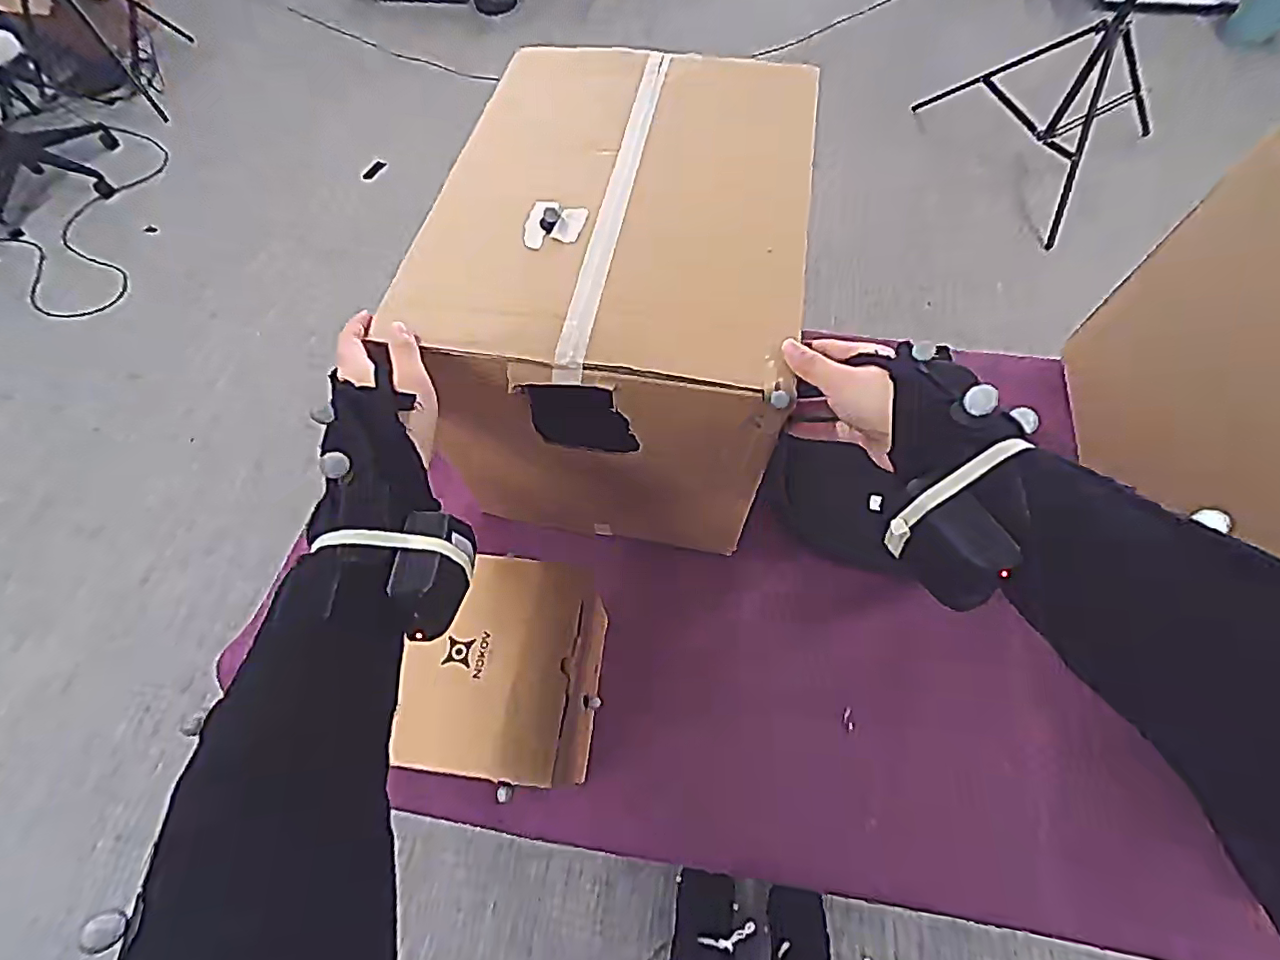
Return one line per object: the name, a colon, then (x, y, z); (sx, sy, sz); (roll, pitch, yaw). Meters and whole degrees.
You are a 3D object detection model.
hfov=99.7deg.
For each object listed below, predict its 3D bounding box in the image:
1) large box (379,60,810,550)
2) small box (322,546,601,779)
large box: (-0.011, -0.177, 0.602); (0.320, 0.320, 0.408); (8, 65, 7)
small box: (-0.138, 0.173, 0.497); (0.179, 0.176, 0.168); (5, 61, 3)
